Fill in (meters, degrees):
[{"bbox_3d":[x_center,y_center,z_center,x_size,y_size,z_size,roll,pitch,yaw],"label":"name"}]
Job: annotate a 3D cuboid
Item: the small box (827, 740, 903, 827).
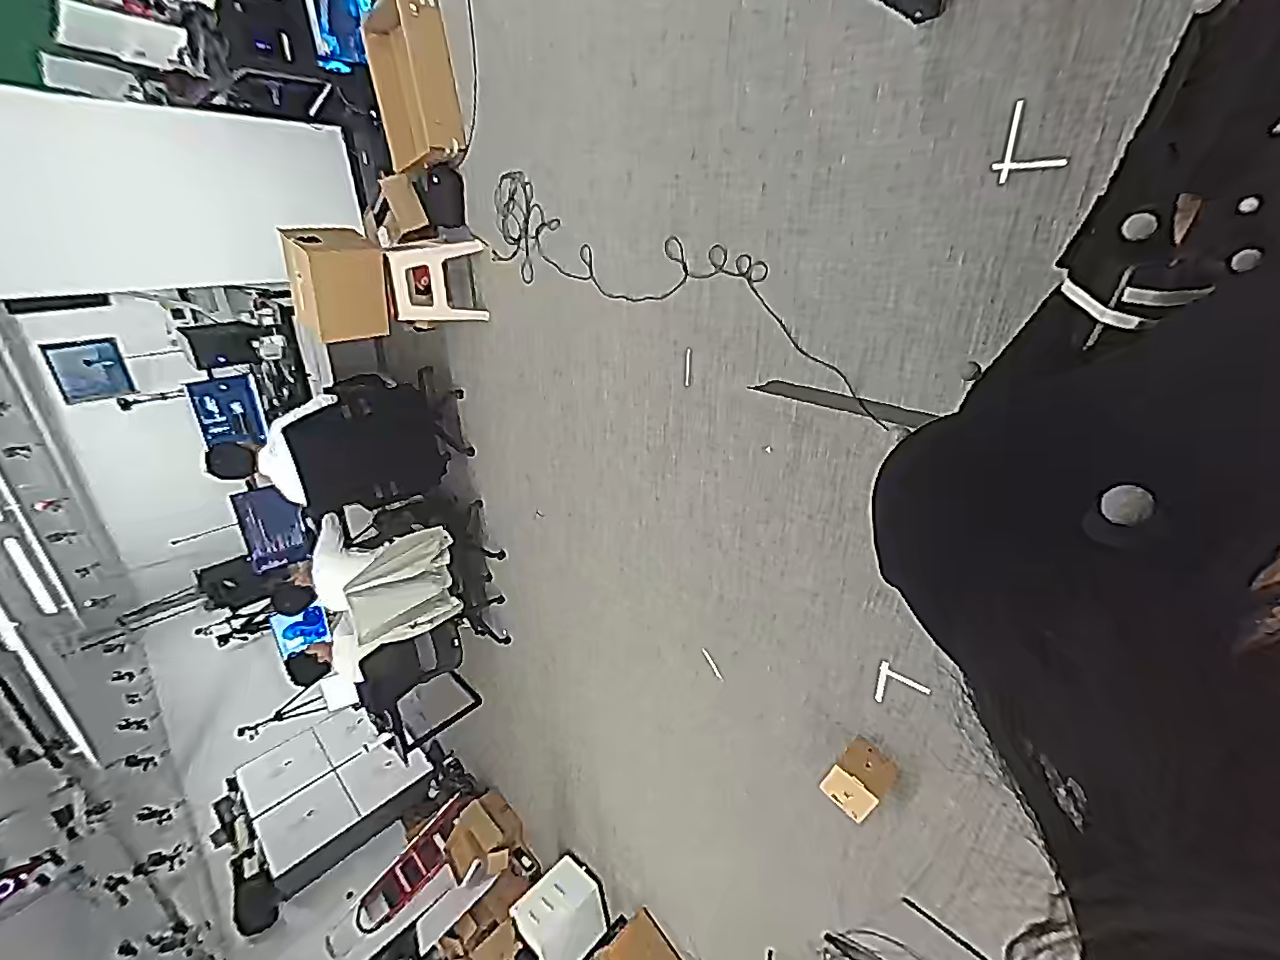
[{"bbox_3d":[0.796,1.060,1.903,0.168,0.176,0.179,37,131,31],"label":"small box"}]
